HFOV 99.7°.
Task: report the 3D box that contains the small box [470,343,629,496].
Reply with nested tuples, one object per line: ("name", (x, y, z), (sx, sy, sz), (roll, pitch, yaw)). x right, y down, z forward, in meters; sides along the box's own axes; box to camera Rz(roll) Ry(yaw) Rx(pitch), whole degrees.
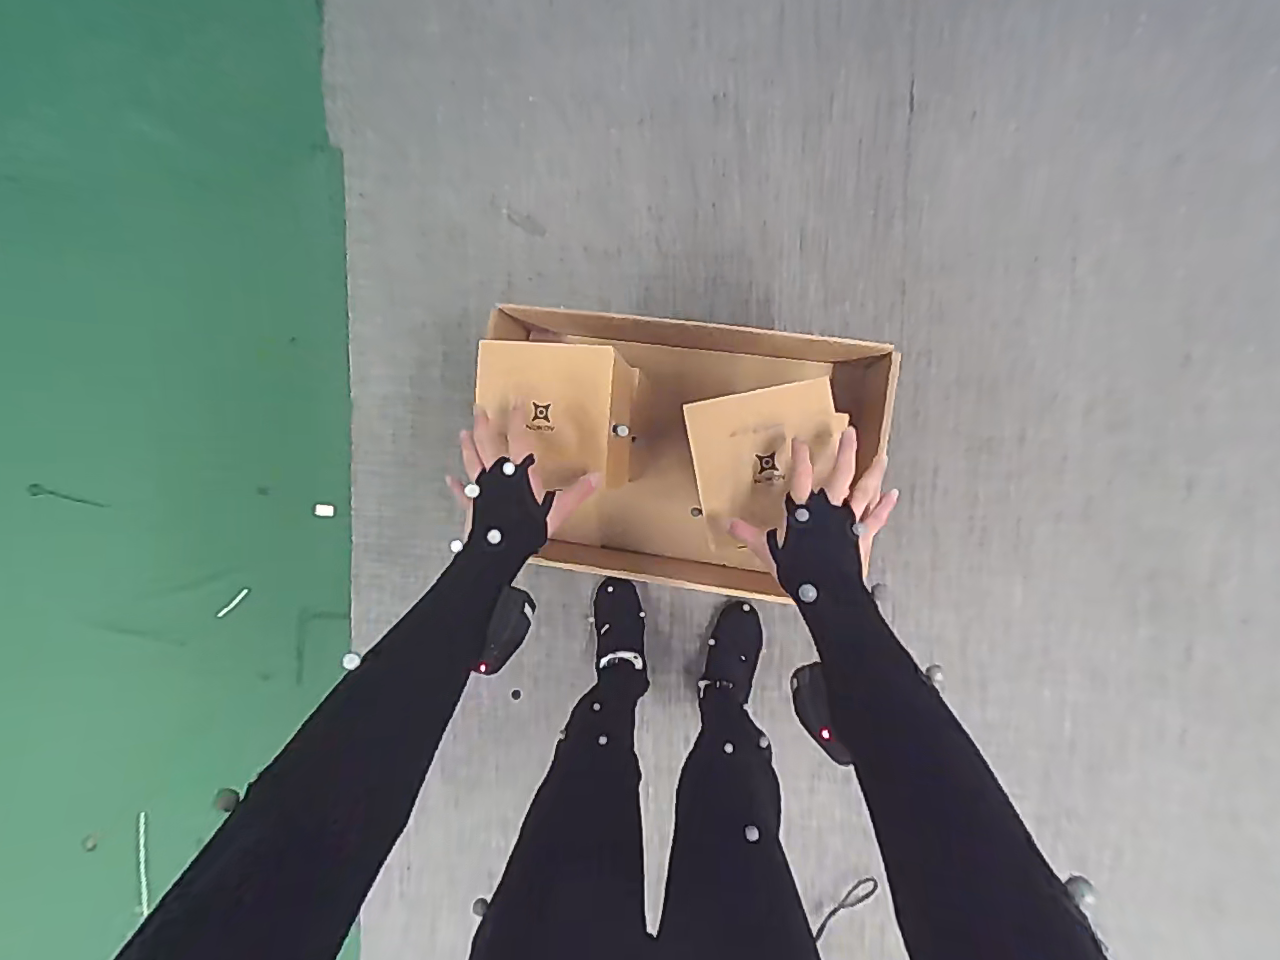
("small box", (-0.109, -0.074, 0.723), (0.168, 0.176, 0.179), (4, 92, 8))

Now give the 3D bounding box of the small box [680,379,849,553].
("small box", (0.150, -0.017, 0.686), (0.168, 0.176, 0.179), (-11, 90, 7))
